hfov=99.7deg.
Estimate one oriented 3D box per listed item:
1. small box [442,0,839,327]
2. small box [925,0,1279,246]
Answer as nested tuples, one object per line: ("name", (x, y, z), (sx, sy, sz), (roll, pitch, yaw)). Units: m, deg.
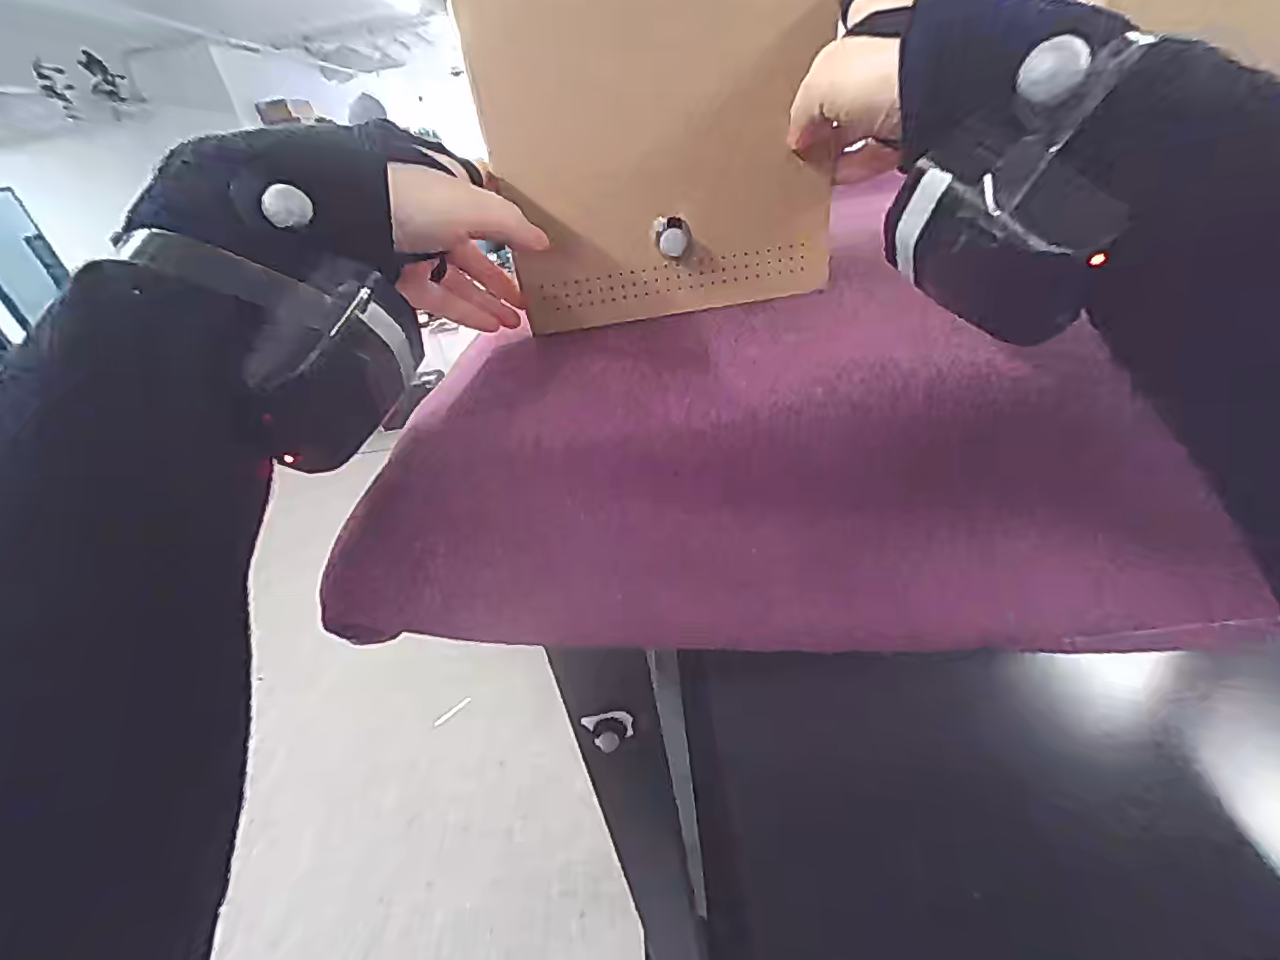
("small box", (0.003, -0.205, 0.325), (0.179, 0.176, 0.168), (-9, 32, 0))
("small box", (0.300, -0.252, 0.321), (0.179, 0.176, 0.168), (-9, 32, 3))
